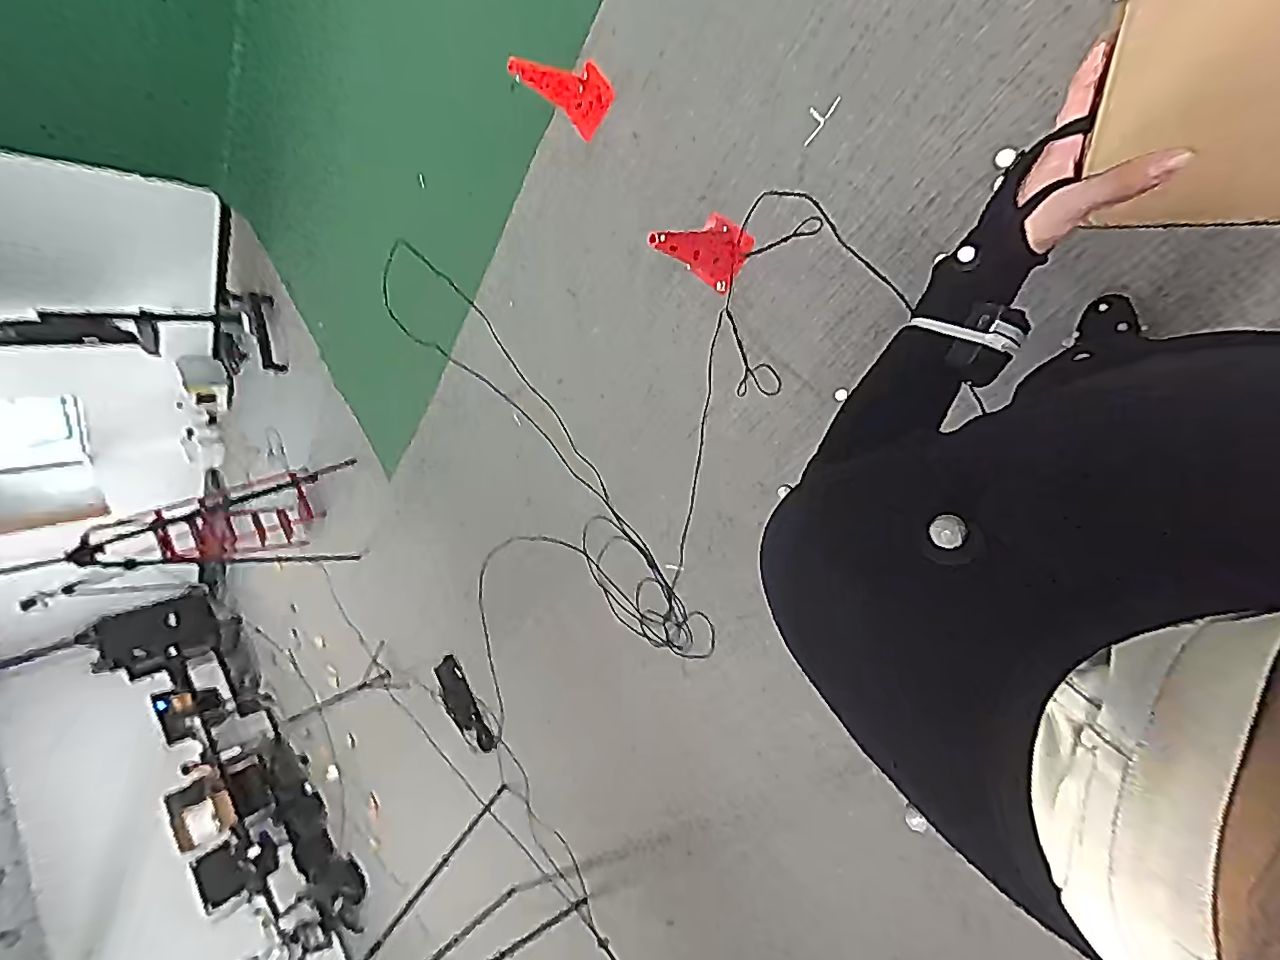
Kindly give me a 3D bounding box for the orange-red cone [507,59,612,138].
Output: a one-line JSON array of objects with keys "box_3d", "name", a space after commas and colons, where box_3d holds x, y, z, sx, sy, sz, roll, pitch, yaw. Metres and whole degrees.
[{"box_3d": [-0.307, -1.381, 1.885, 0.199, 0.360, 0.198, -39, 74, 41], "name": "orange-red cone"}]
